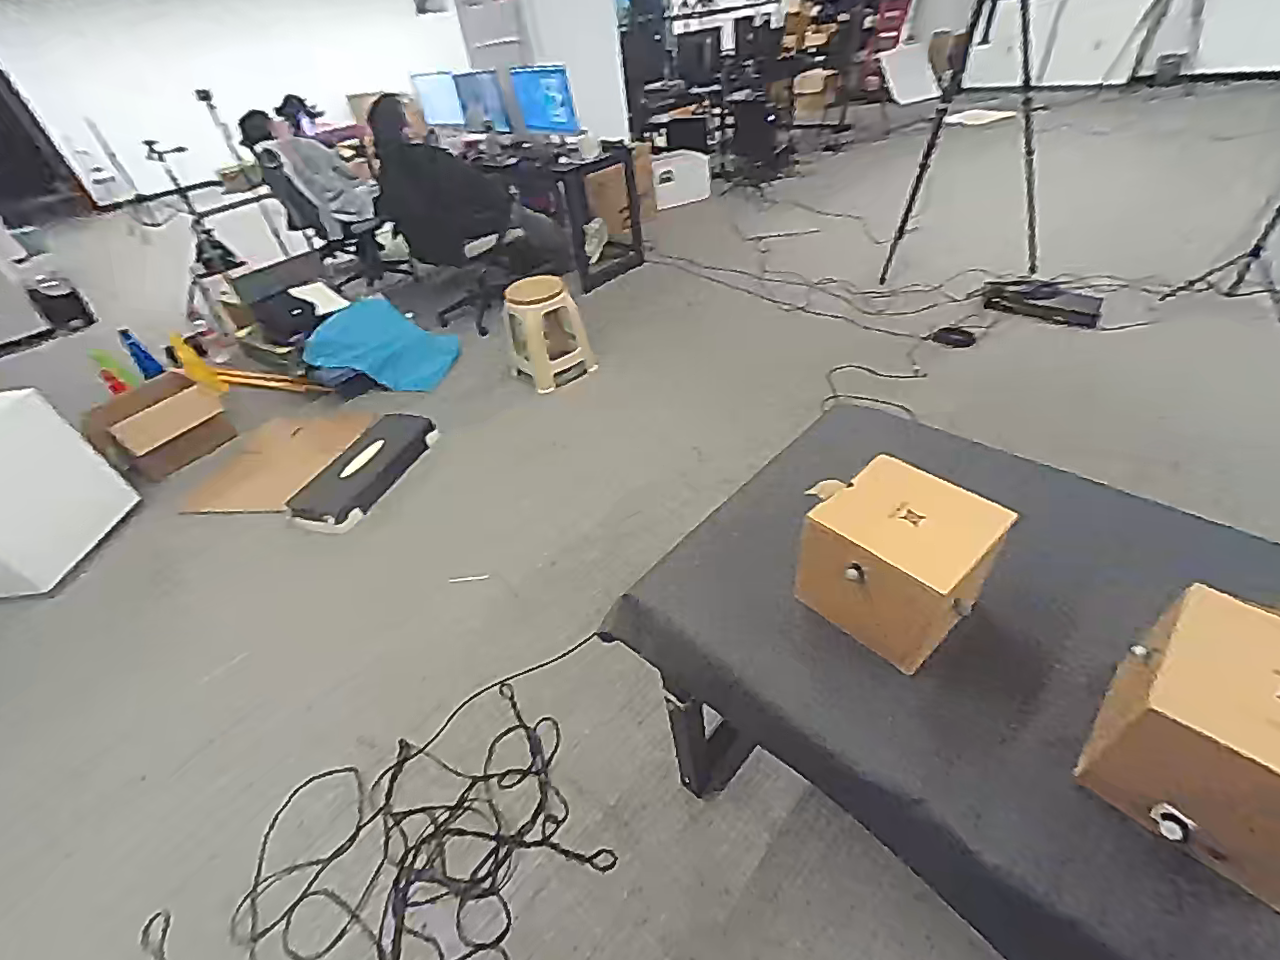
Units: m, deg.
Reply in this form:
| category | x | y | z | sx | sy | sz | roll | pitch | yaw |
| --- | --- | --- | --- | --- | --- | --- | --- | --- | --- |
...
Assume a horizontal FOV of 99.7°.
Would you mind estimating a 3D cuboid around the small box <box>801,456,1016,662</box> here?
| category | x | y | z | sx | sy | sz | roll | pitch | yaw |
| --- | --- | --- | --- | --- | --- | --- | --- | --- | --- |
| small box | 0.330 | 0.105 | 0.696 | 0.168 | 0.176 | 0.179 | -32 | 46 | -26 |

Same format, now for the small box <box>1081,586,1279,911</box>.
| category | x | y | z | sx | sy | sz | roll | pitch | yaw |
| --- | --- | --- | --- | --- | --- | --- | --- | --- | --- |
| small box | 0.554 | 0.241 | 0.500 | 0.179 | 0.176 | 0.168 | -36 | 47 | -29 |
